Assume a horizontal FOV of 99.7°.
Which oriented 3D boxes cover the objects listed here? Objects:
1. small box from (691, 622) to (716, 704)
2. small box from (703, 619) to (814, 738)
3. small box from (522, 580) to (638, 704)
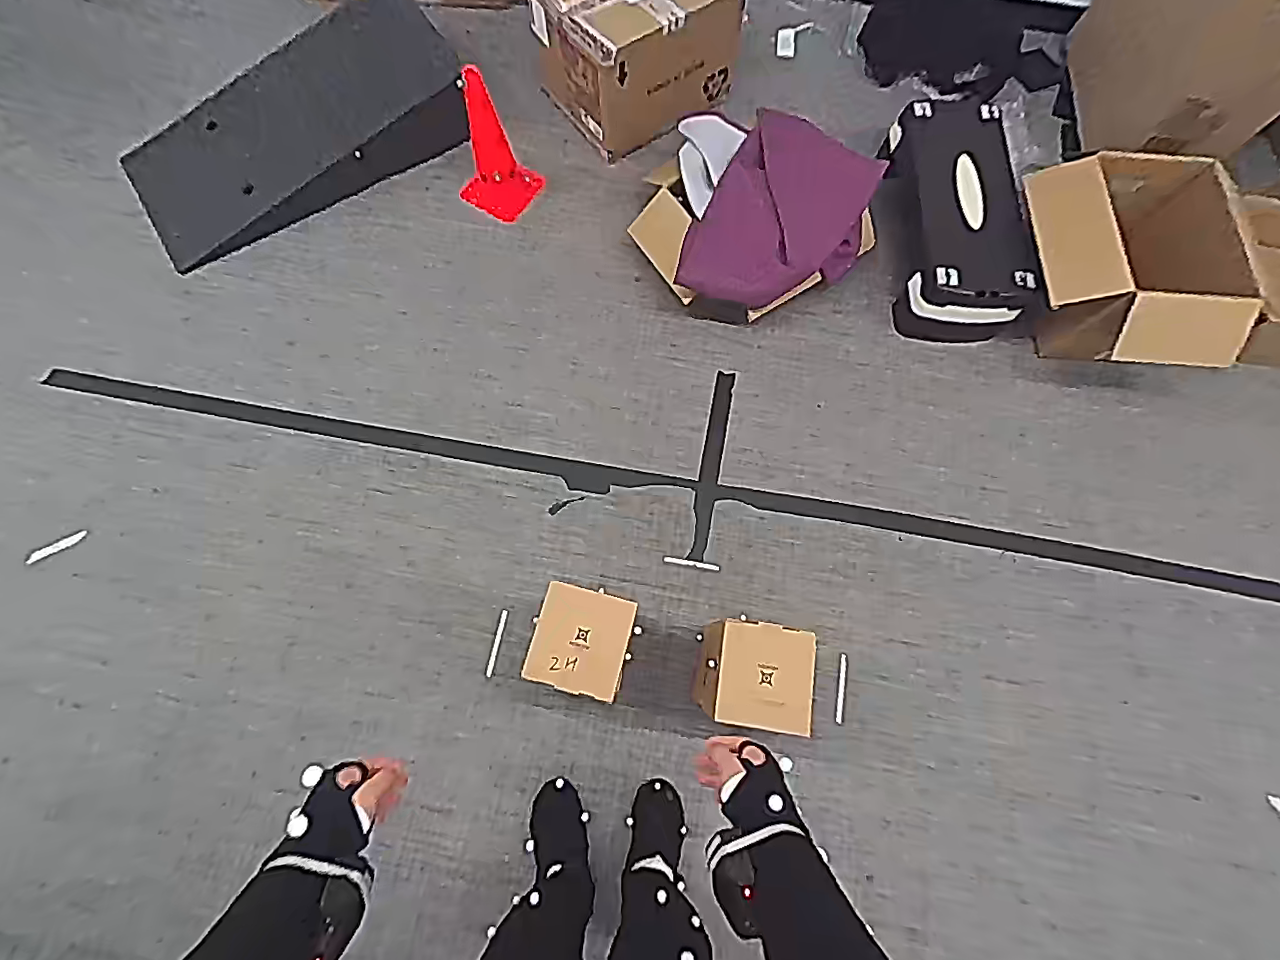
[{"bbox_3d":[0.216,0.415,1.171,0.179,0.176,0.168,13,73,1],"label":"small box"},{"bbox_3d":[0.216,0.365,1.017,0.168,0.176,0.179,8,74,2],"label":"small box"},{"bbox_3d":[-0.107,0.303,1.020,0.168,0.176,0.179,15,73,3],"label":"small box"}]
